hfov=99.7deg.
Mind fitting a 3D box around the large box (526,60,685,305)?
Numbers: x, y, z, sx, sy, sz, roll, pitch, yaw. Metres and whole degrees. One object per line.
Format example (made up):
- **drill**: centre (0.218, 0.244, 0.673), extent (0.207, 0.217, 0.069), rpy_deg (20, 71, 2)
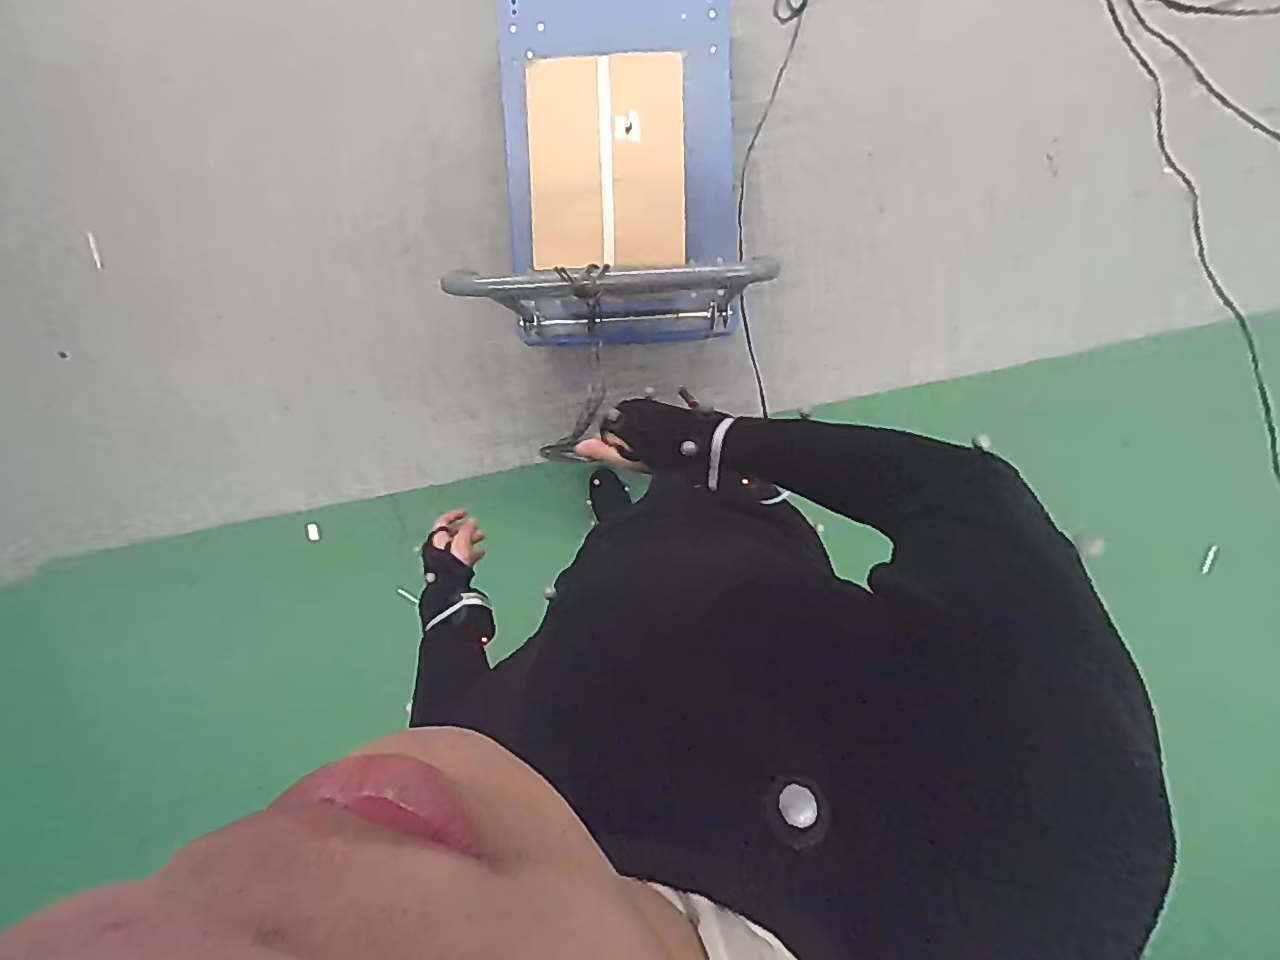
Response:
- **large box**: centre (-0.064, -0.644, 1.242), extent (0.320, 0.320, 0.408), rpy_deg (-1, 95, 1)
